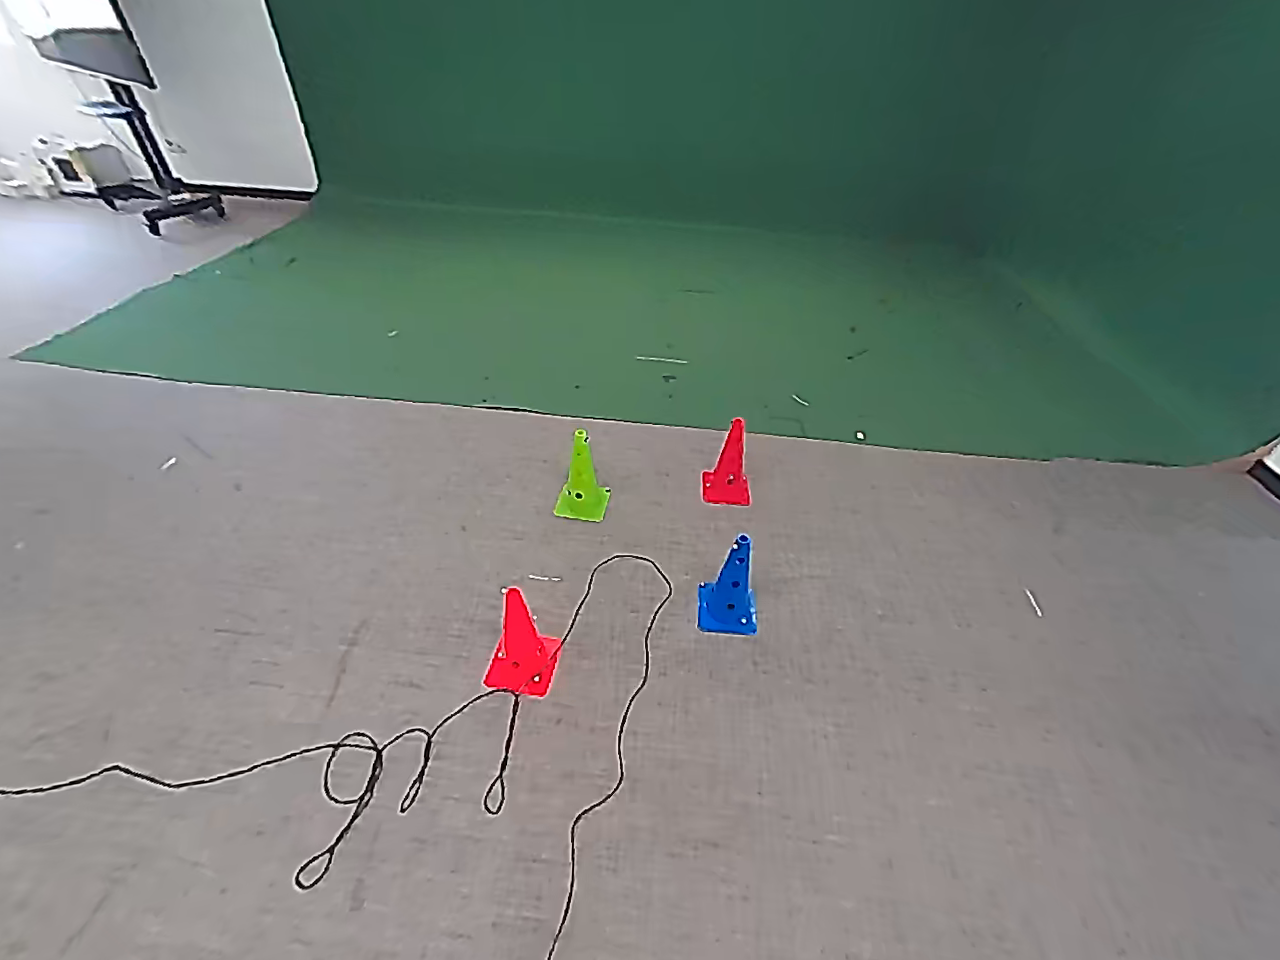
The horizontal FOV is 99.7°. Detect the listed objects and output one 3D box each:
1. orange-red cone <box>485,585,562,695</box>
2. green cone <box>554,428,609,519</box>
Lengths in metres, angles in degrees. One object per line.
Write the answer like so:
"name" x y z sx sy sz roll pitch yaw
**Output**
"orange-red cone" -0.346 0.426 1.554 0.198 0.360 0.199 9 40 5
"green cone" -0.232 -0.049 2.099 0.200 0.368 0.202 7 42 5
